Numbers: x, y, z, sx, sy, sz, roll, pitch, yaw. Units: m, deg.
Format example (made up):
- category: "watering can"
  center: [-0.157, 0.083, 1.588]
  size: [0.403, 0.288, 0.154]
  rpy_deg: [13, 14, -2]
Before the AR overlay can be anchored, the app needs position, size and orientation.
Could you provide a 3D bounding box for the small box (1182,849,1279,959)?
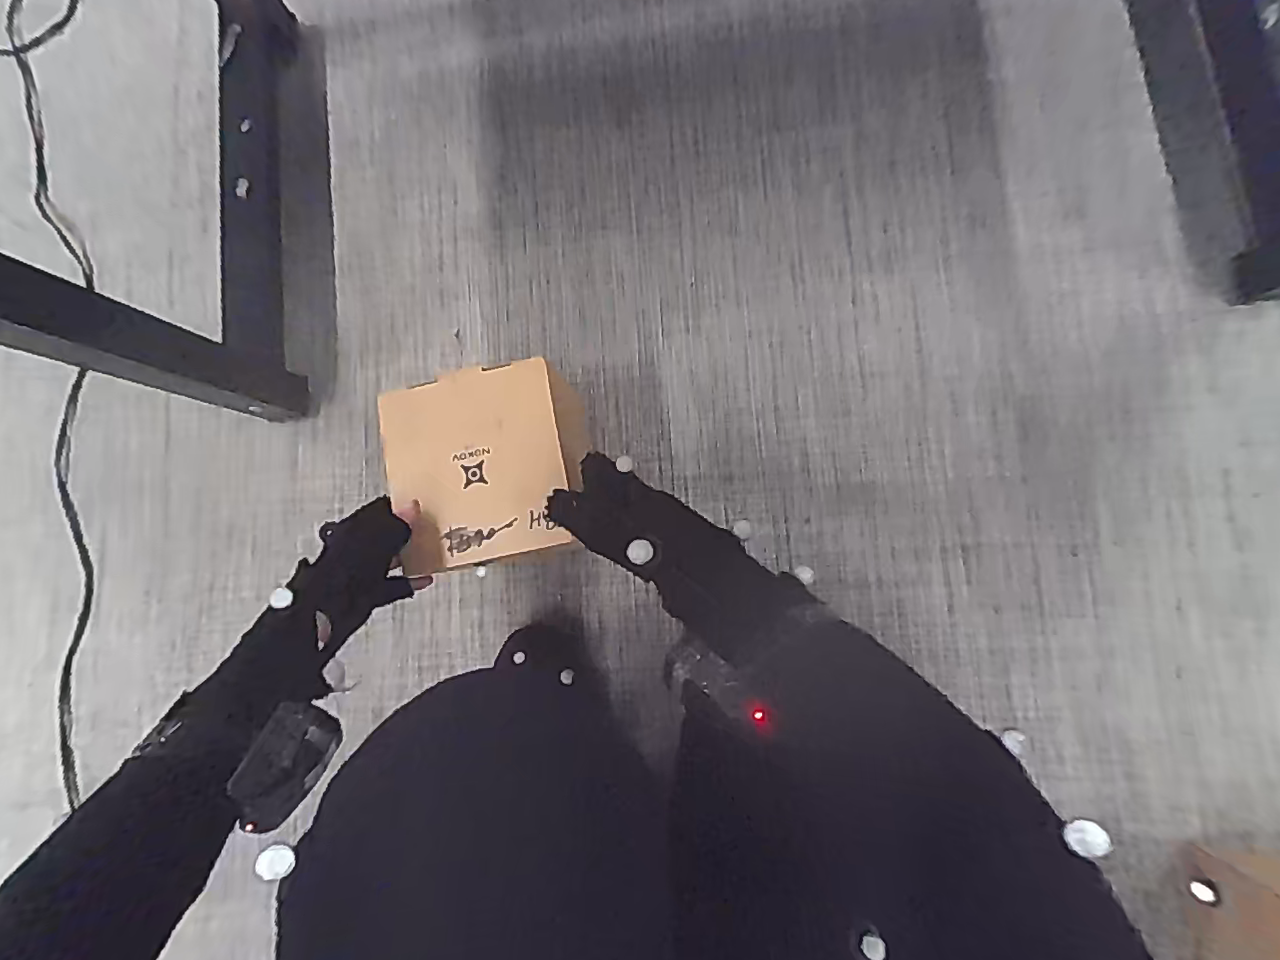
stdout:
- category: "small box"
  center: [0.599, 0.438, 0.438]
  size: [0.179, 0.176, 0.168]
  rpy_deg: [7, 84, 6]
